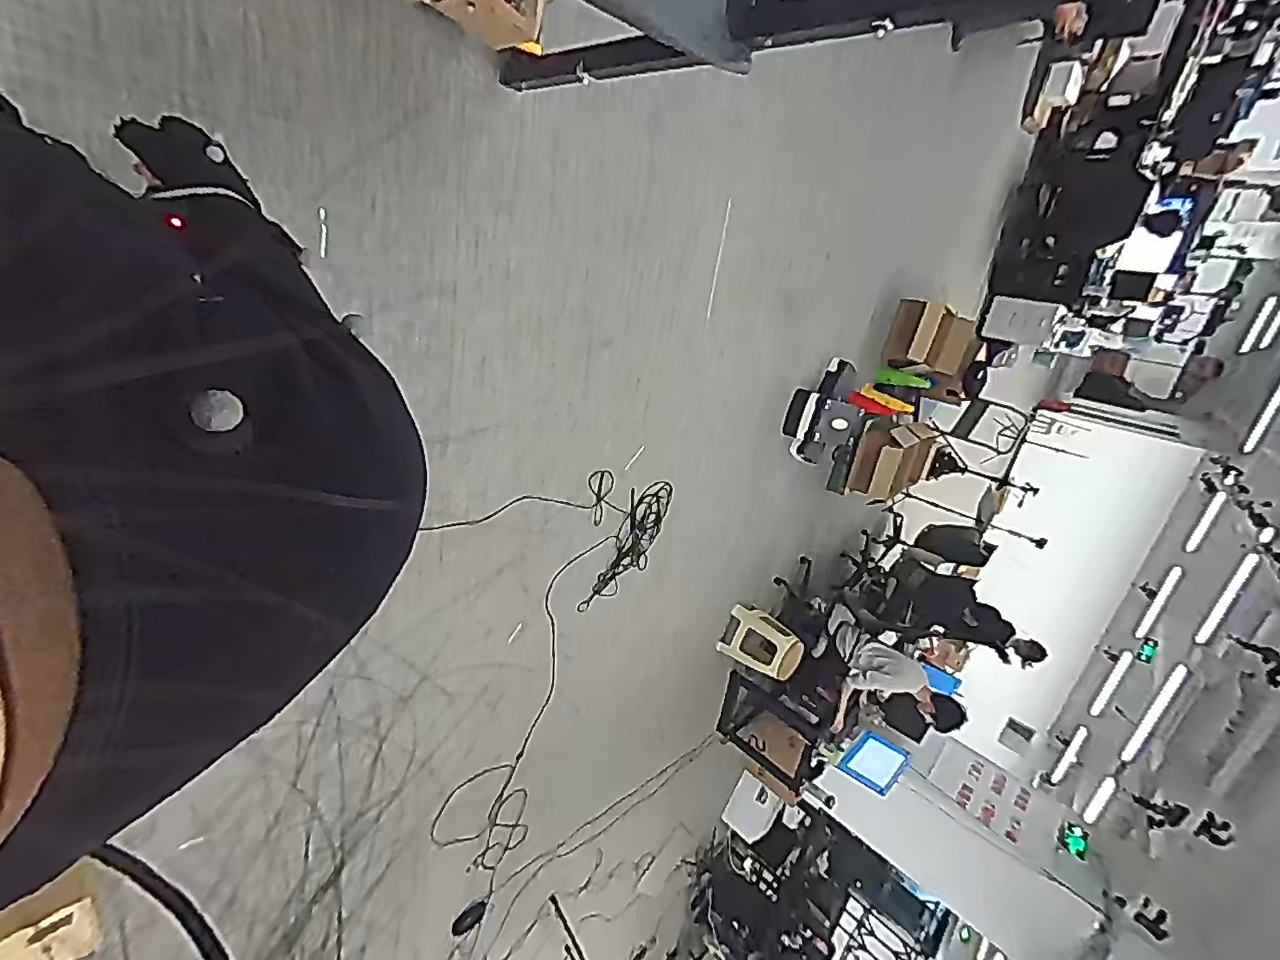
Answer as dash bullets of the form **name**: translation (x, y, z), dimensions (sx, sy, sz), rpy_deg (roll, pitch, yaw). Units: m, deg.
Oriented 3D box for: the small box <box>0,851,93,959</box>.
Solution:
- **small box**: translation (-1.420, 1.019, 1.266), dimensions (0.168, 0.176, 0.179), rpy_deg (-13, 121, -45)
